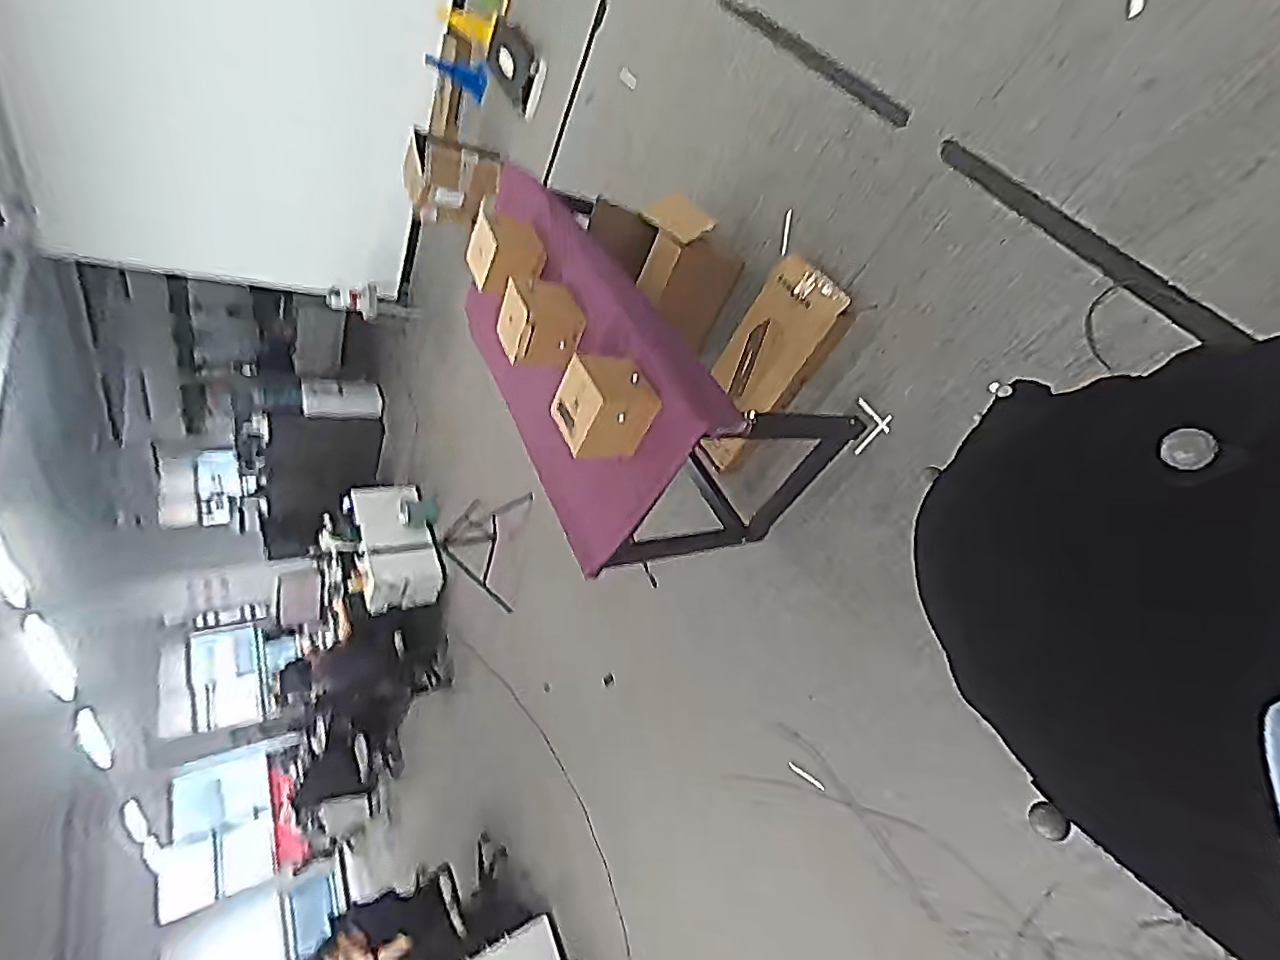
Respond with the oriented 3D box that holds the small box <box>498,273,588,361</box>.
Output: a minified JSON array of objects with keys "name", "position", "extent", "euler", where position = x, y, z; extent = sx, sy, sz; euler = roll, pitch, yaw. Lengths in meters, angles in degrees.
[{"name":"small box","position":[-0.271,-0.444,1.501],"extent":[0.179,0.176,0.168],"euler":[59,137,31]}]

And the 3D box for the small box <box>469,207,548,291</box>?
[{"name":"small box","position":[-0.401,-0.694,1.648],"extent":[0.168,0.176,0.179],"euler":[-51,54,42]}]
